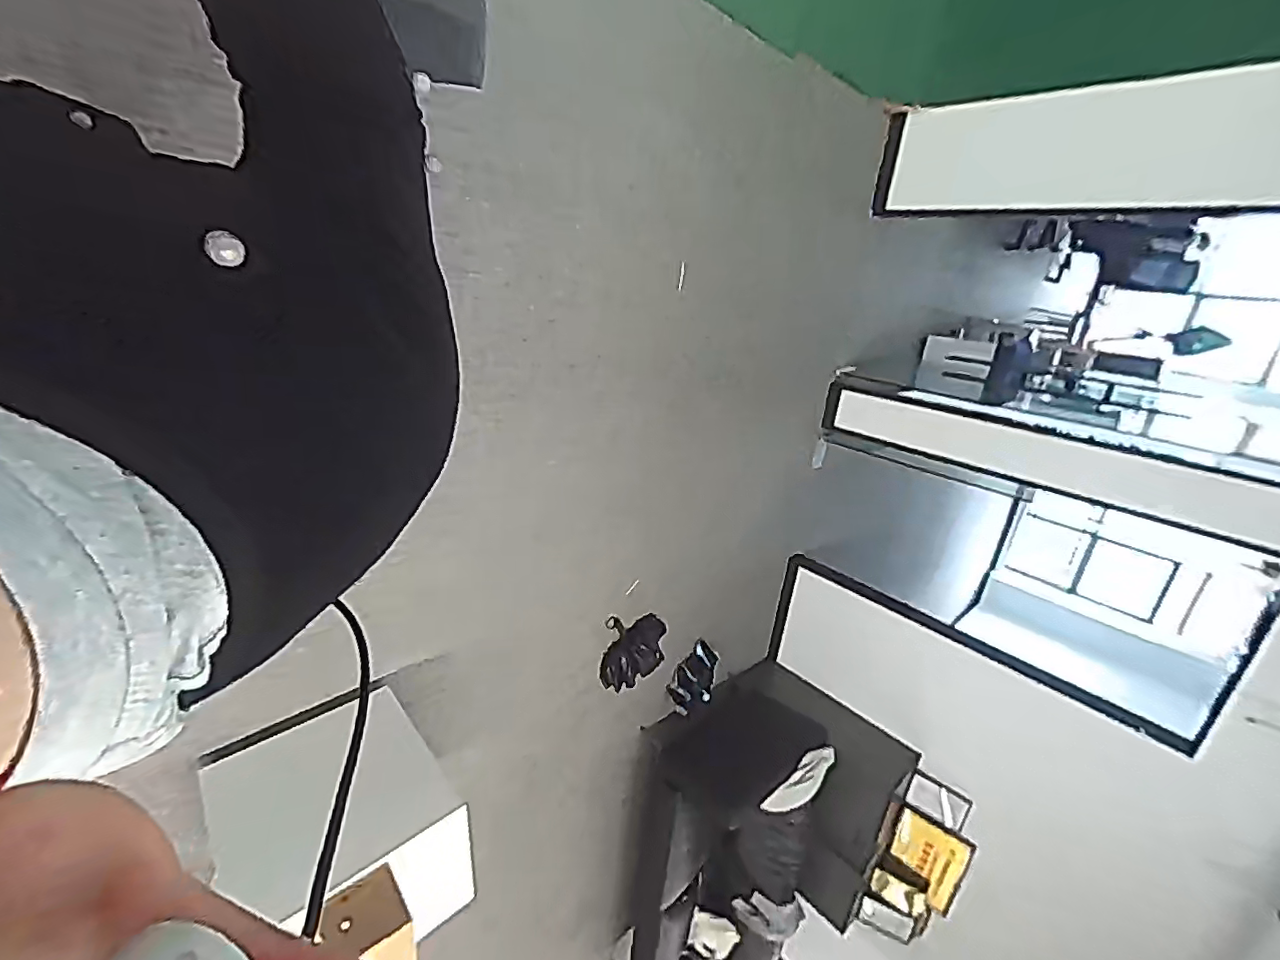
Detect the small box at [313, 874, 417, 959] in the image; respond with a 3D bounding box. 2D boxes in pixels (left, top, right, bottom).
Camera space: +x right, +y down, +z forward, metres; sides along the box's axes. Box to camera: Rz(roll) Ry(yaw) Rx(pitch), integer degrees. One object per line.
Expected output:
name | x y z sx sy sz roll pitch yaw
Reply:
small box | -0.619 1.042 1.219 0.168 0.176 0.179 -14 120 -41
